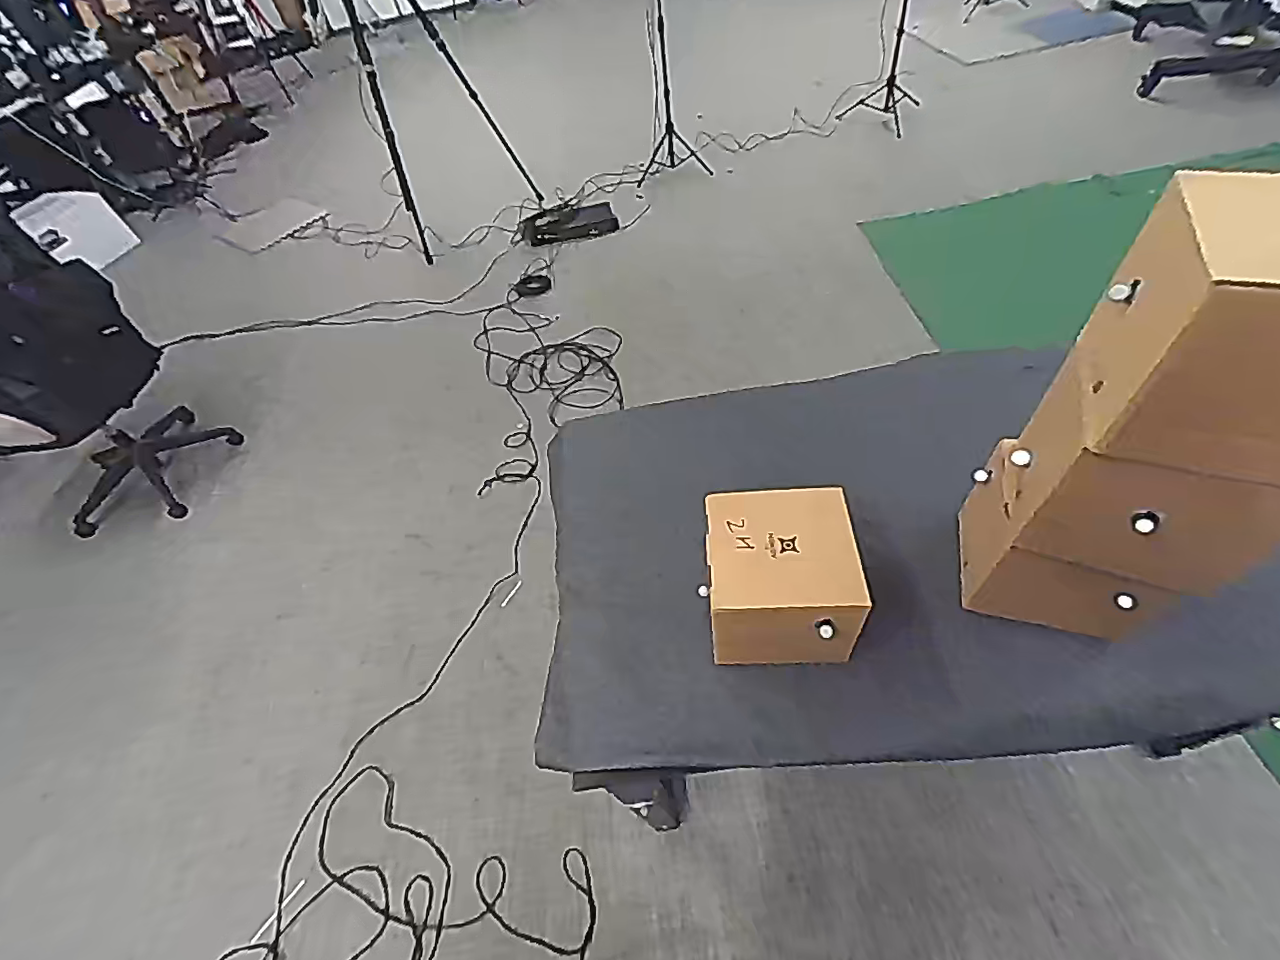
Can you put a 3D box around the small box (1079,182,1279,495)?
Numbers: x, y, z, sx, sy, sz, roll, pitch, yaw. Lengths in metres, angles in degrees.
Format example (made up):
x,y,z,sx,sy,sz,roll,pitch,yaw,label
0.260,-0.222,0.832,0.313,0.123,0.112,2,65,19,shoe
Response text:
x,y,z,sx,sy,sz,roll,pitch,yaw,label
0.480,-0.108,0.423,0.179,0.176,0.168,14,55,20,small box

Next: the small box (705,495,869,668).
x,y,z,sx,sy,sz,roll,pitch,yaw,label
0.177,0.136,0.706,0.179,0.176,0.168,-4,50,8,small box

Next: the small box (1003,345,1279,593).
x,y,z,sx,sy,sz,roll,pitch,yaw,label
0.505,-0.008,0.548,0.179,0.176,0.168,16,55,22,small box
